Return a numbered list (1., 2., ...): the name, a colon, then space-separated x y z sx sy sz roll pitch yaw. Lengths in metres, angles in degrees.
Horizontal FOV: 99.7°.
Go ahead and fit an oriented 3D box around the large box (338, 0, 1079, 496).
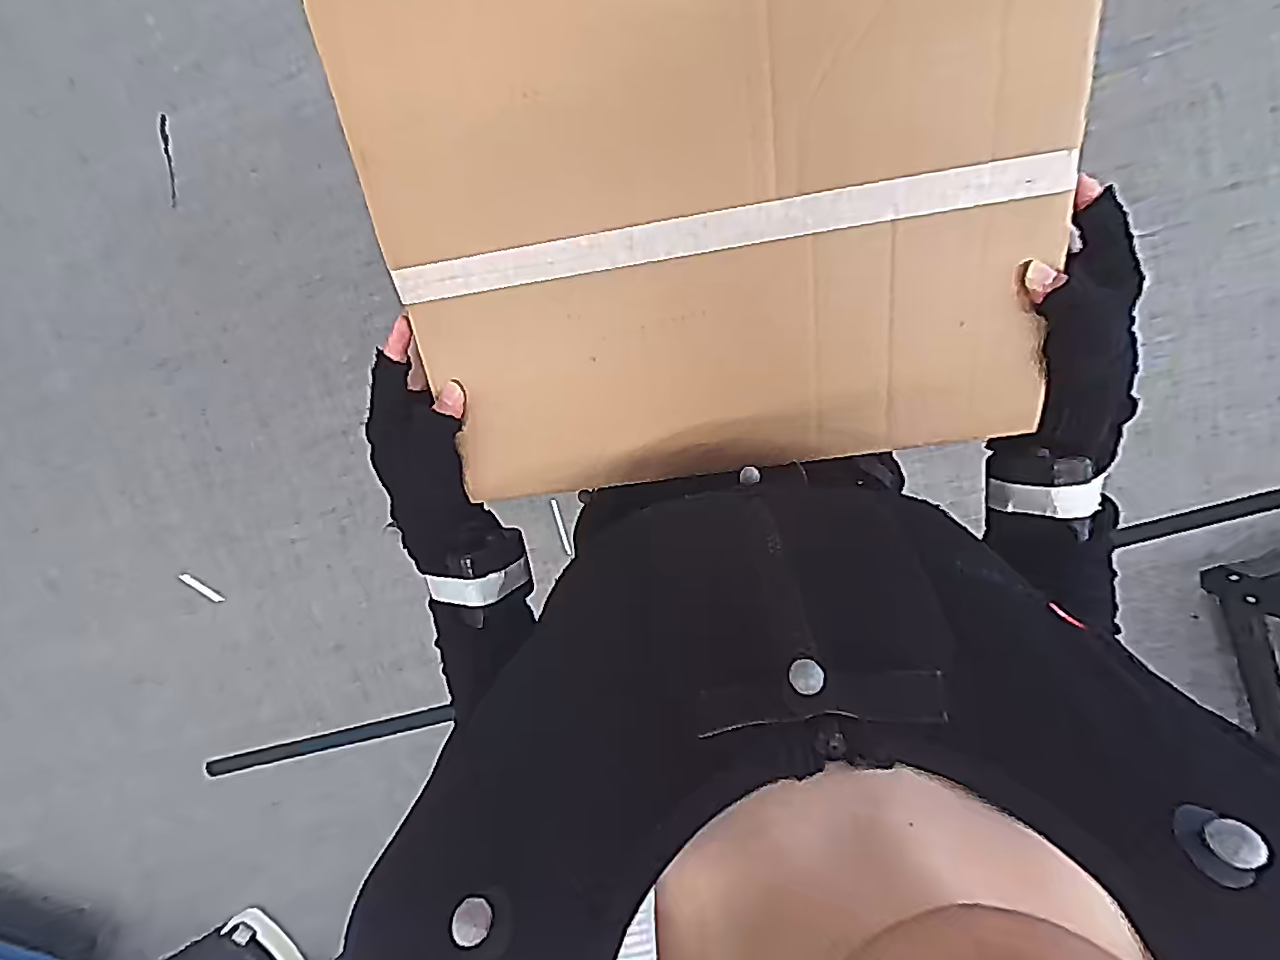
1. large box: 0.052 -0.211 0.474 0.408 0.320 0.320 -7 115 5
